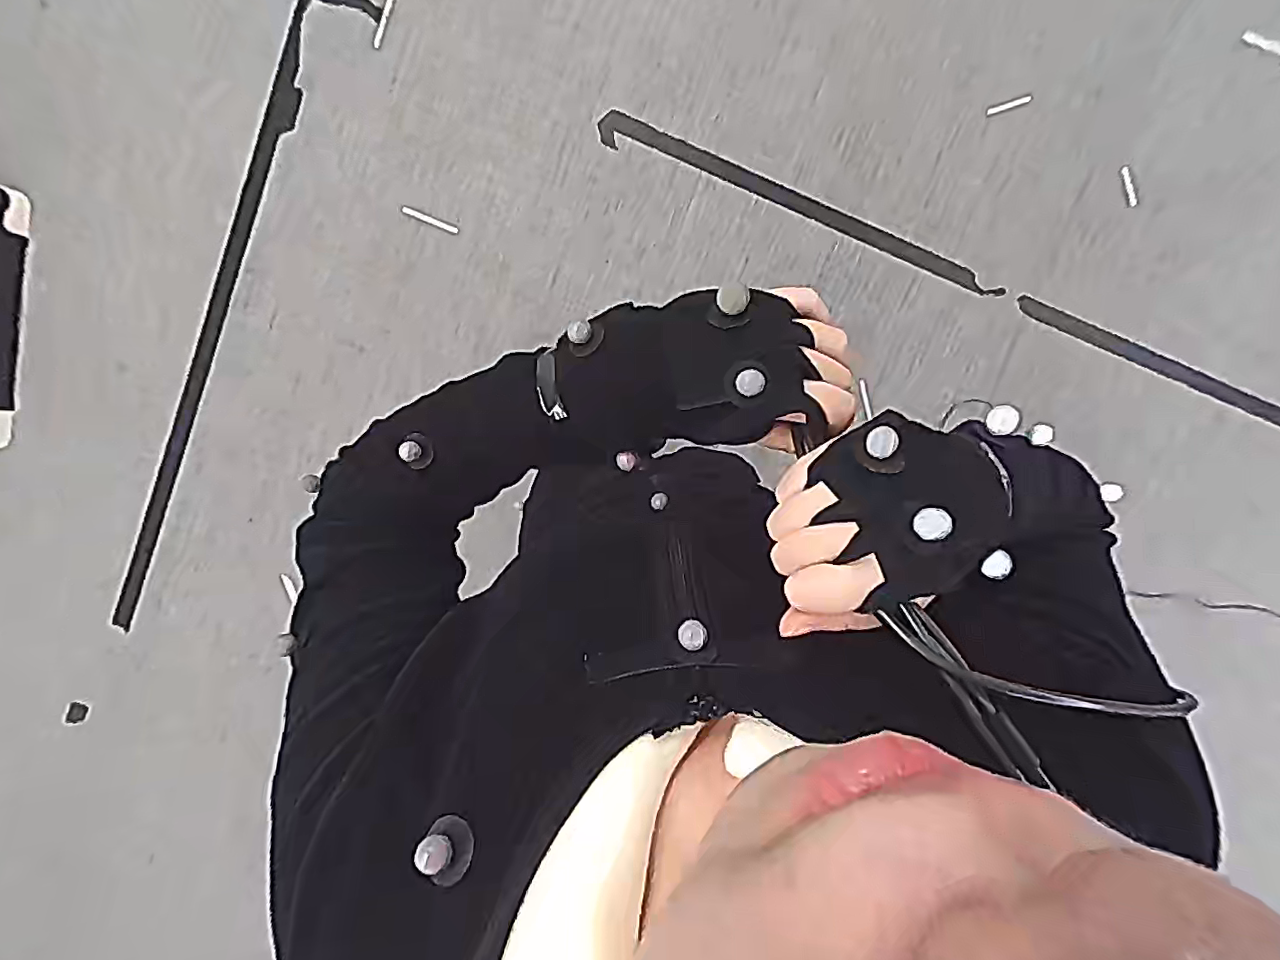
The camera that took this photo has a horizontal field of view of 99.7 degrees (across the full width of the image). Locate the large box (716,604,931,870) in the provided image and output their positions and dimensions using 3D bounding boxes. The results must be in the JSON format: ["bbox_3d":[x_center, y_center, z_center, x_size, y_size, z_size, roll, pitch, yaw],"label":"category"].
[{"bbox_3d":[0.389,0.550,1.226,0.320,0.320,0.408,-15,97,1],"label":"large box"}]
